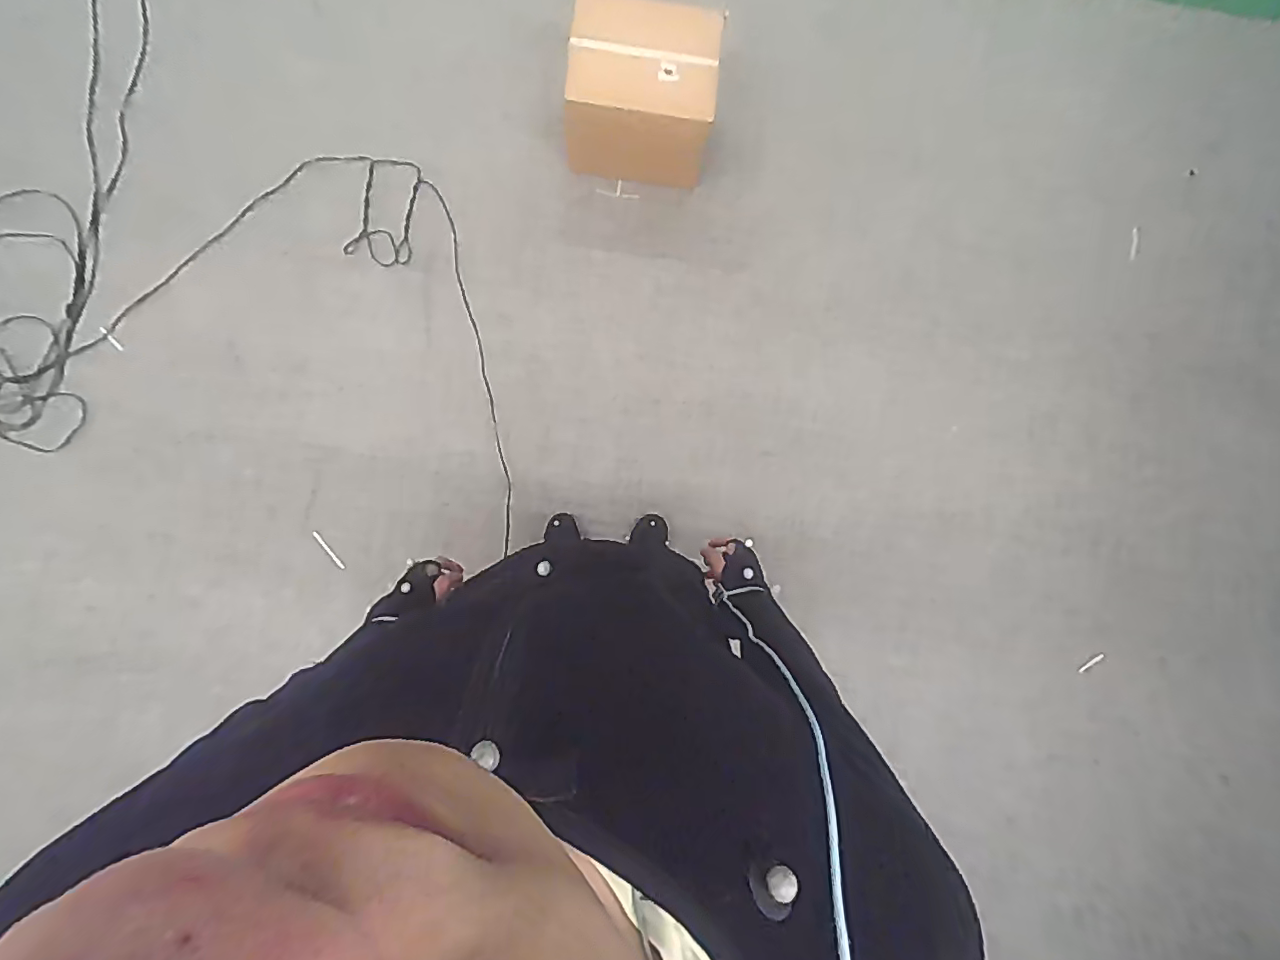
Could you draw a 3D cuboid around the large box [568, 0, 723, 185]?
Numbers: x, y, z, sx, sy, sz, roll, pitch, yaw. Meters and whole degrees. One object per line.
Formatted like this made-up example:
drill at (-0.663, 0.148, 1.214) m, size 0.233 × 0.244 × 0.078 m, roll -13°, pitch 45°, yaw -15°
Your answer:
large box at (0.005, -1.122, 1.592) m, size 0.408 × 0.320 × 0.320 m, roll 5°, pitch 87°, yaw -4°
